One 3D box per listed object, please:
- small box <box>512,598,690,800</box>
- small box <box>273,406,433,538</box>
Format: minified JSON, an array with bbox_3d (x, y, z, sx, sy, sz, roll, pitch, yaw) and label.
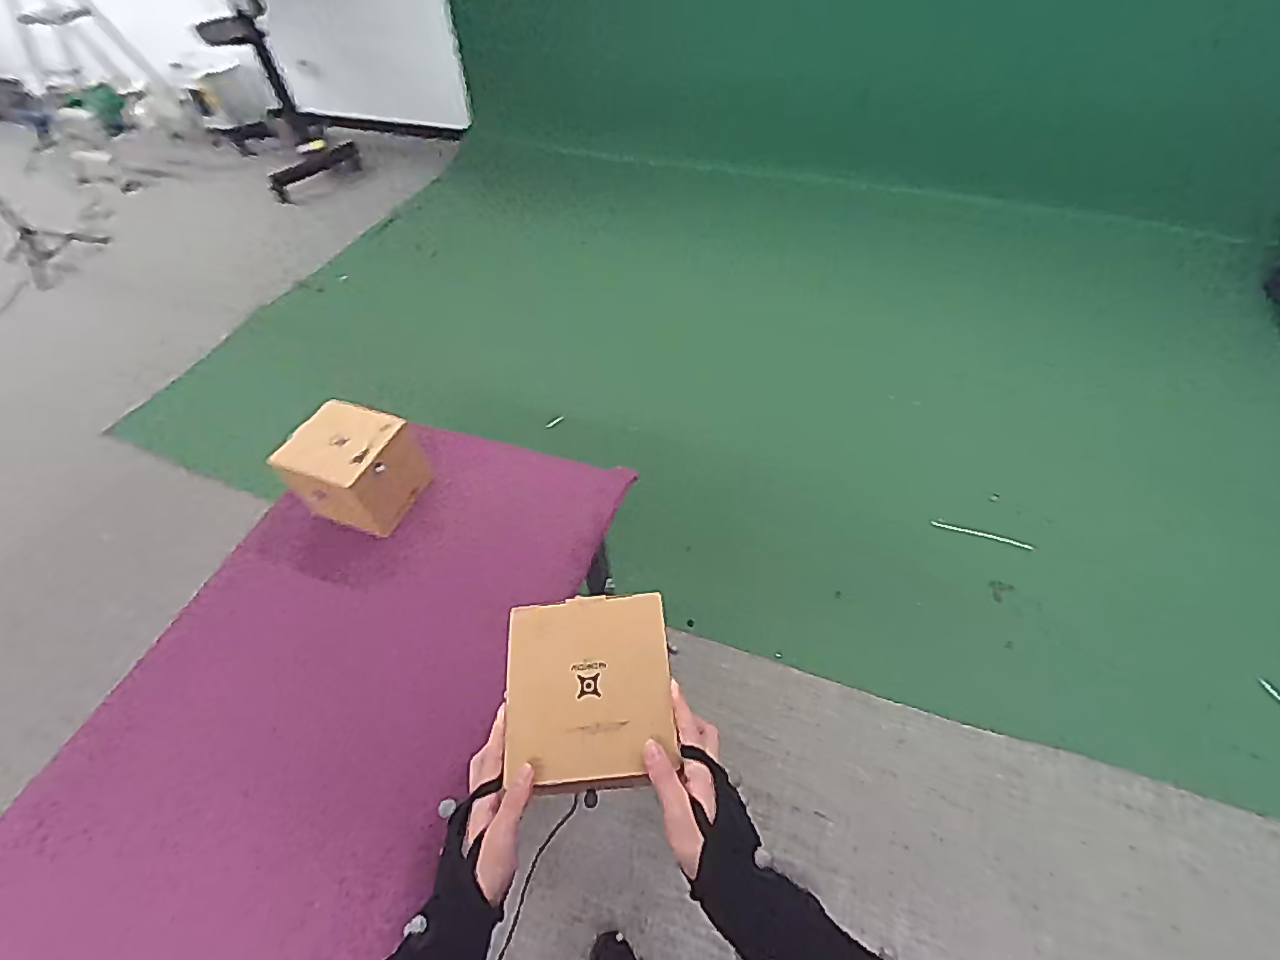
[{"bbox_3d":[-0.037,0.248,0.604,0.168,0.176,0.179,-5,57,1],"label":"small box"},{"bbox_3d":[-0.535,-0.011,1.035,0.179,0.176,0.168,15,55,14],"label":"small box"}]
